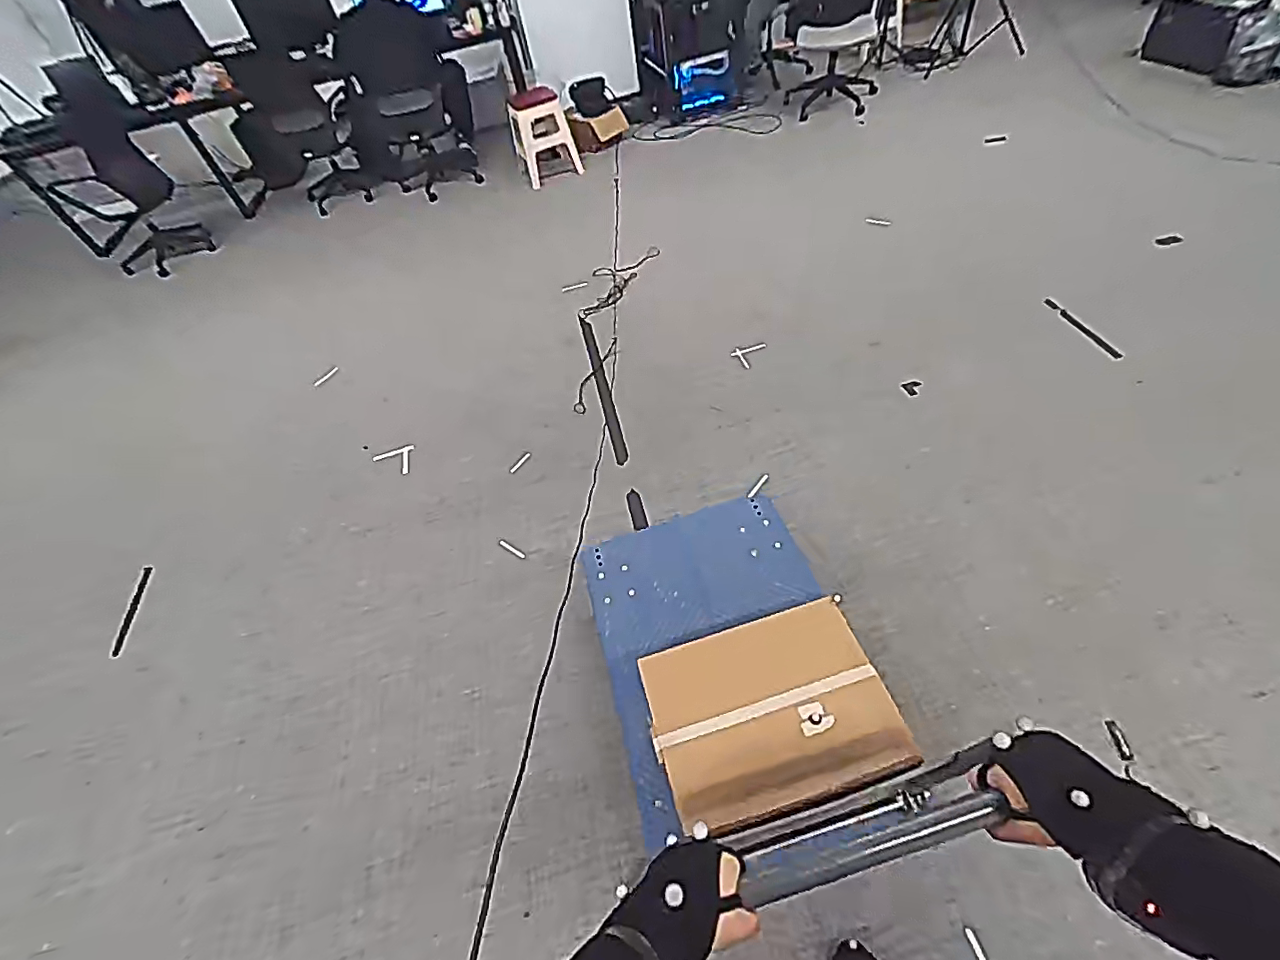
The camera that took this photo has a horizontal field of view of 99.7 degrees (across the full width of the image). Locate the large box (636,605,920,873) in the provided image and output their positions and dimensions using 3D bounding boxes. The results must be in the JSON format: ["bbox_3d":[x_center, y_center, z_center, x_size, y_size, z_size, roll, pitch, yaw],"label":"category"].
[{"bbox_3d":[0.241,0.506,1.053,0.408,0.320,0.320,-17,50,-3],"label":"large box"}]
